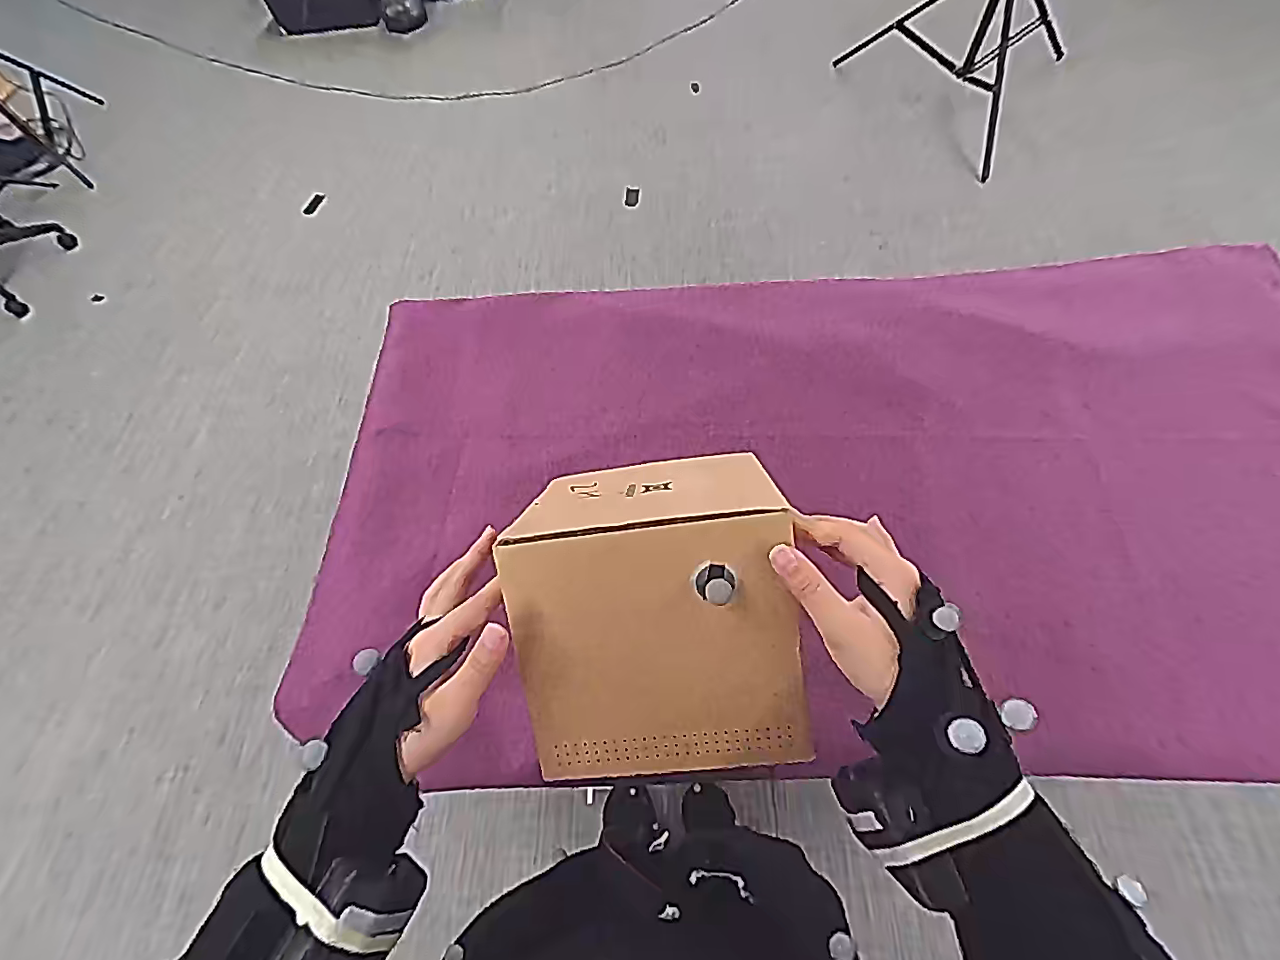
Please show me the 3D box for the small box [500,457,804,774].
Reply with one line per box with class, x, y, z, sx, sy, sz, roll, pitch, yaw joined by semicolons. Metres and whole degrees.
small box;0.019;0.089;0.406;0.179;0.168;0.176;-8;101;6
